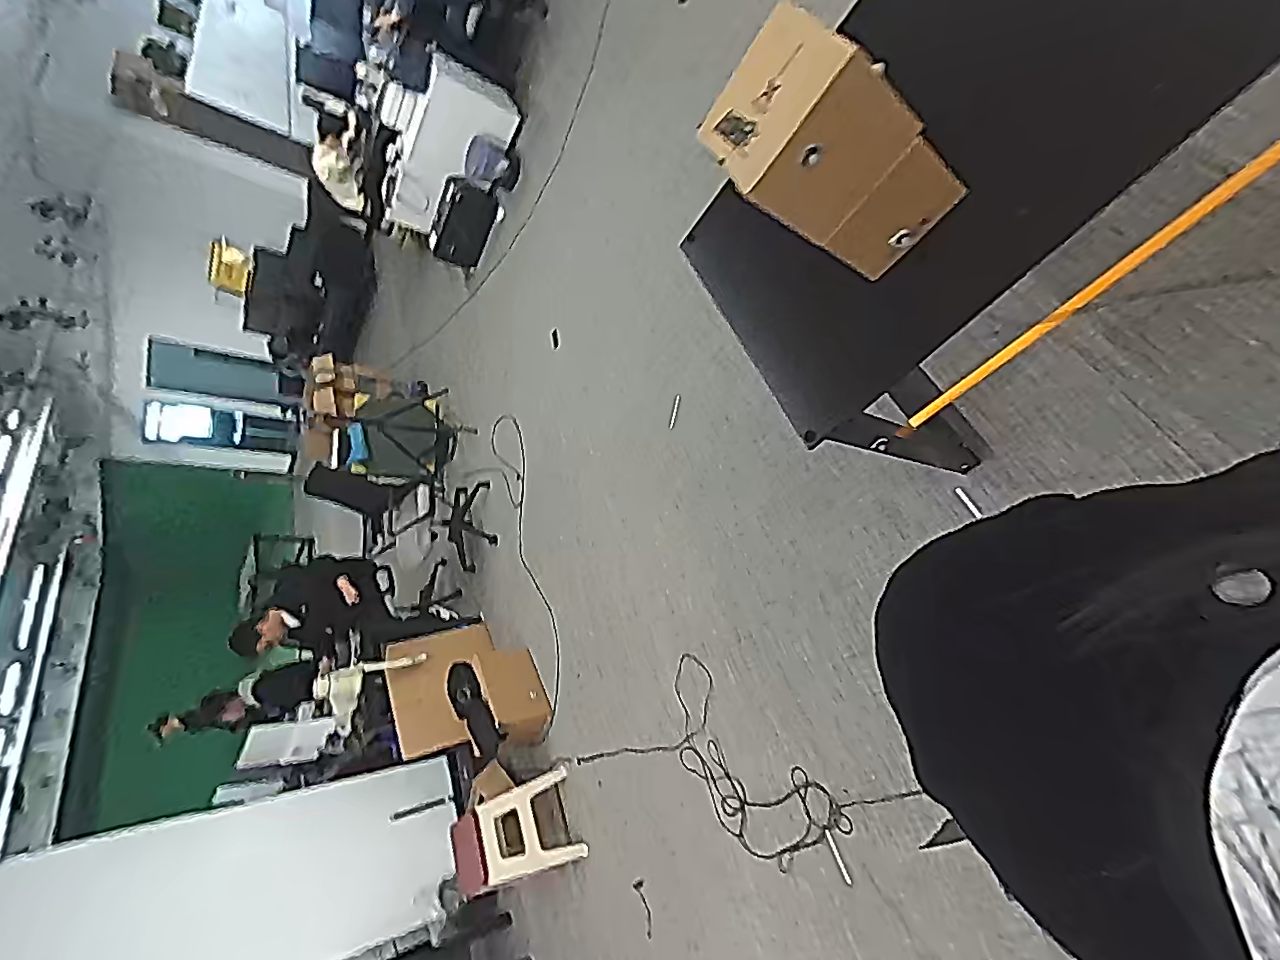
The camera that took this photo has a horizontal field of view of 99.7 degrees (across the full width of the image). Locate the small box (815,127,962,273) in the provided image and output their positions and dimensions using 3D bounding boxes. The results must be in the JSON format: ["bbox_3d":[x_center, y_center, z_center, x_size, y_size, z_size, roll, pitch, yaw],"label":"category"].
[{"bbox_3d":[0.337,-0.445,0.816,0.168,0.176,0.179,-48,52,36],"label":"small box"}]

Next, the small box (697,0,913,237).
[{"bbox_3d":[0.212,-0.458,0.710,0.179,0.176,0.168,-48,51,35],"label":"small box"}]
